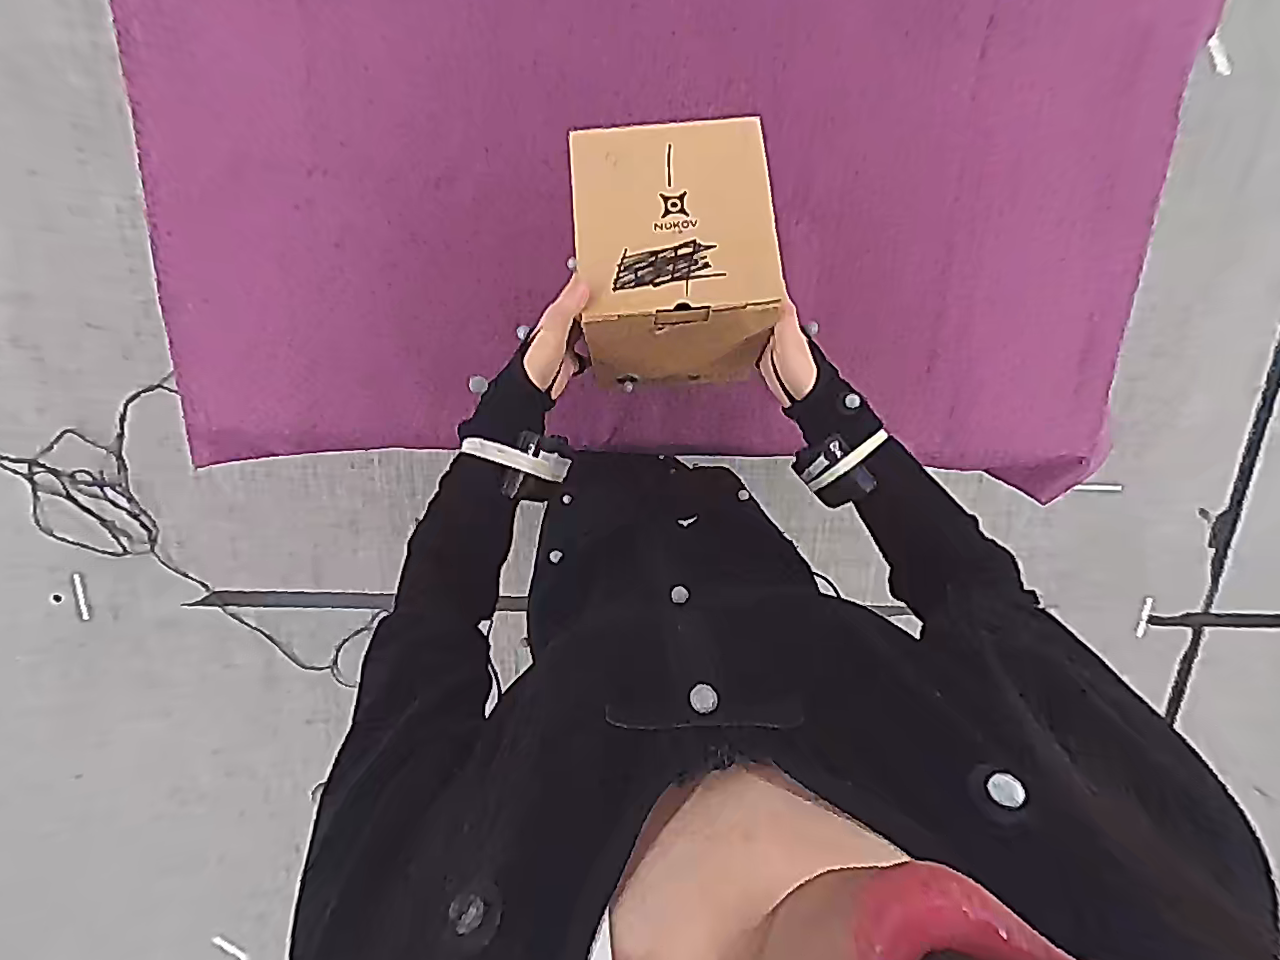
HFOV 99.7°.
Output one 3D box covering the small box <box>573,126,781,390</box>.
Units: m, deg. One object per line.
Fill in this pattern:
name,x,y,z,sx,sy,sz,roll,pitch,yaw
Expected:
small box,0.032,-0.196,0.526,0.168,0.176,0.179,-4,77,2
